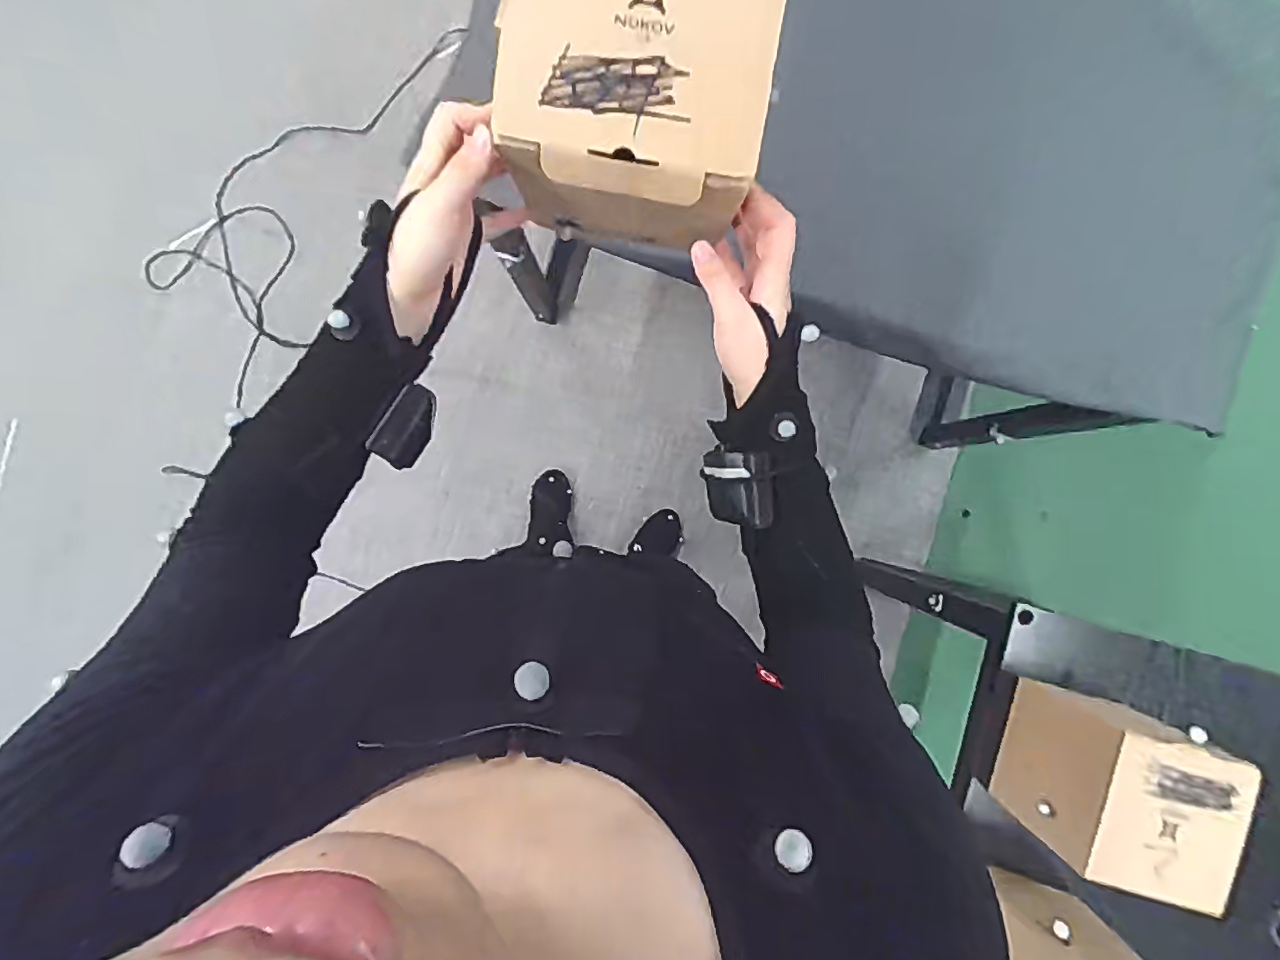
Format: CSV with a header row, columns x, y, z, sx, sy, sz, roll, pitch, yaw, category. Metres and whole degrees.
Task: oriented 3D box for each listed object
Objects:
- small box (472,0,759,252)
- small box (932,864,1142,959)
x,y,z,sx,sy,sz,roll,pitch,yaw,category
-0.012,-0.289,0.404,0.168,0.176,0.179,8,97,-2,small box
0.510,0.635,0.682,0.179,0.176,0.168,20,90,0,small box
